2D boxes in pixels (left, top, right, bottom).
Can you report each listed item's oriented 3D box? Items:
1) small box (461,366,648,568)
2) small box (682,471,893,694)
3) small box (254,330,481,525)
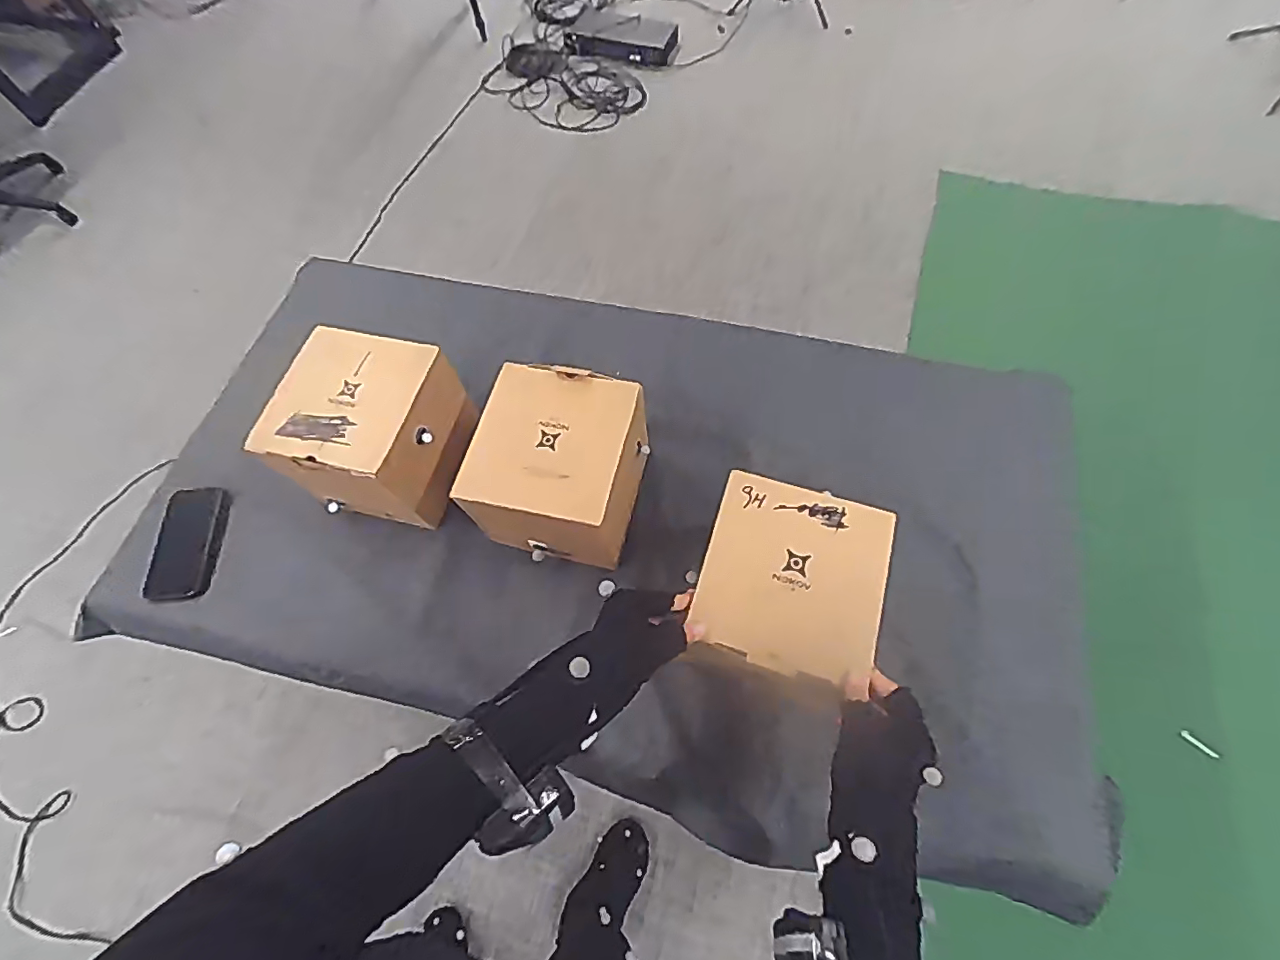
[{"bbox_3d":[-0.087,-0.010,0.659,0.168,0.176,0.179,10,67,9],"label":"small box"},{"bbox_3d":[0.149,0.120,0.587,0.168,0.176,0.179,16,68,10],"label":"small box"},{"bbox_3d":[-0.325,-0.059,0.691,0.168,0.176,0.179,11,66,8],"label":"small box"}]
